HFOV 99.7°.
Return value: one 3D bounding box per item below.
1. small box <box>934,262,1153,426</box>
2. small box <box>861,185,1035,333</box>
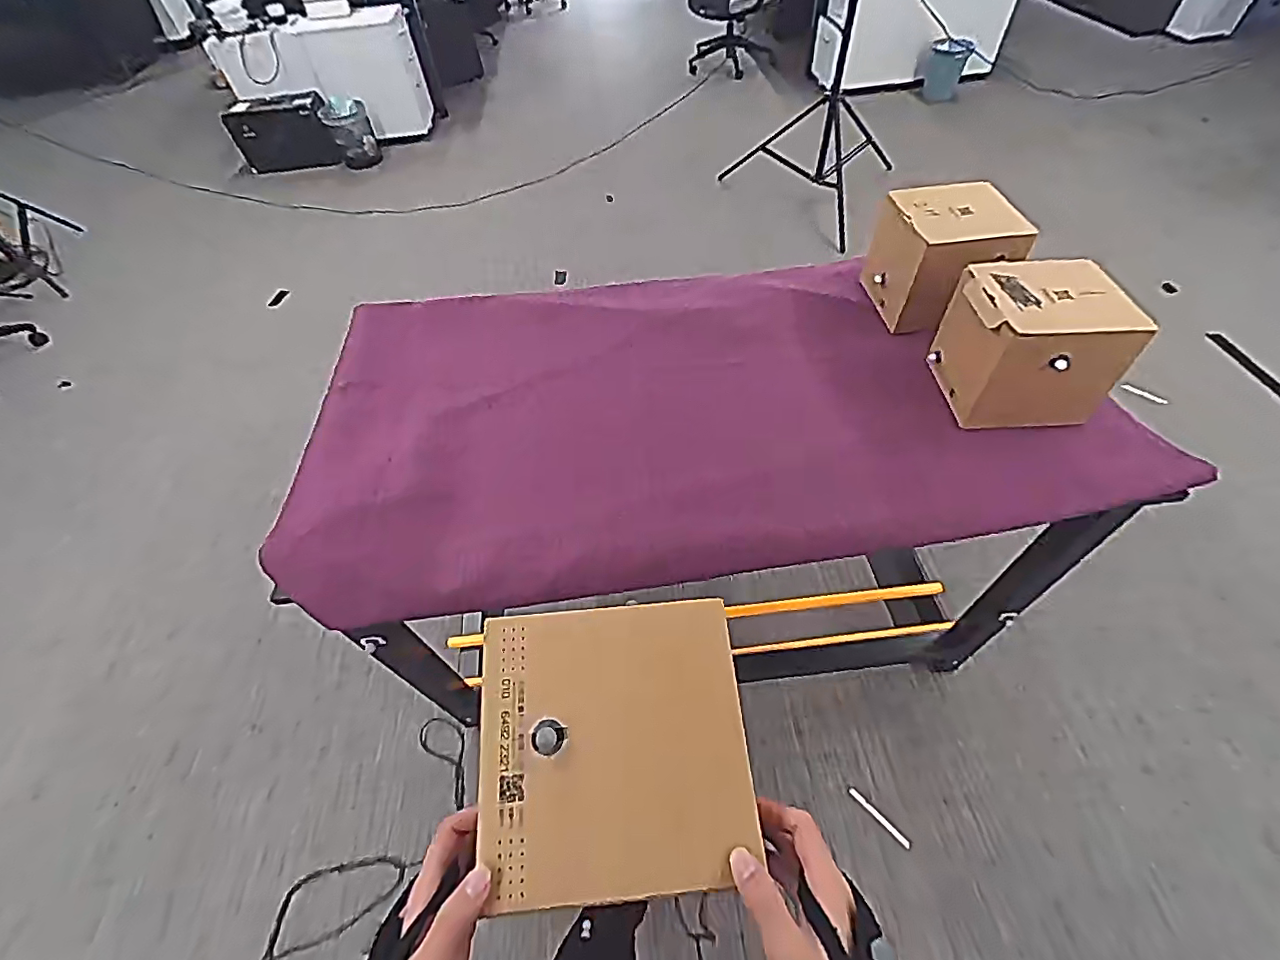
[{"bbox_3d":[0.551,-0.190,0.778,0.179,0.176,0.168,-2,51,3],"label":"small box"},{"bbox_3d":[0.507,-0.372,0.922,0.179,0.176,0.168,-7,53,-1],"label":"small box"}]
